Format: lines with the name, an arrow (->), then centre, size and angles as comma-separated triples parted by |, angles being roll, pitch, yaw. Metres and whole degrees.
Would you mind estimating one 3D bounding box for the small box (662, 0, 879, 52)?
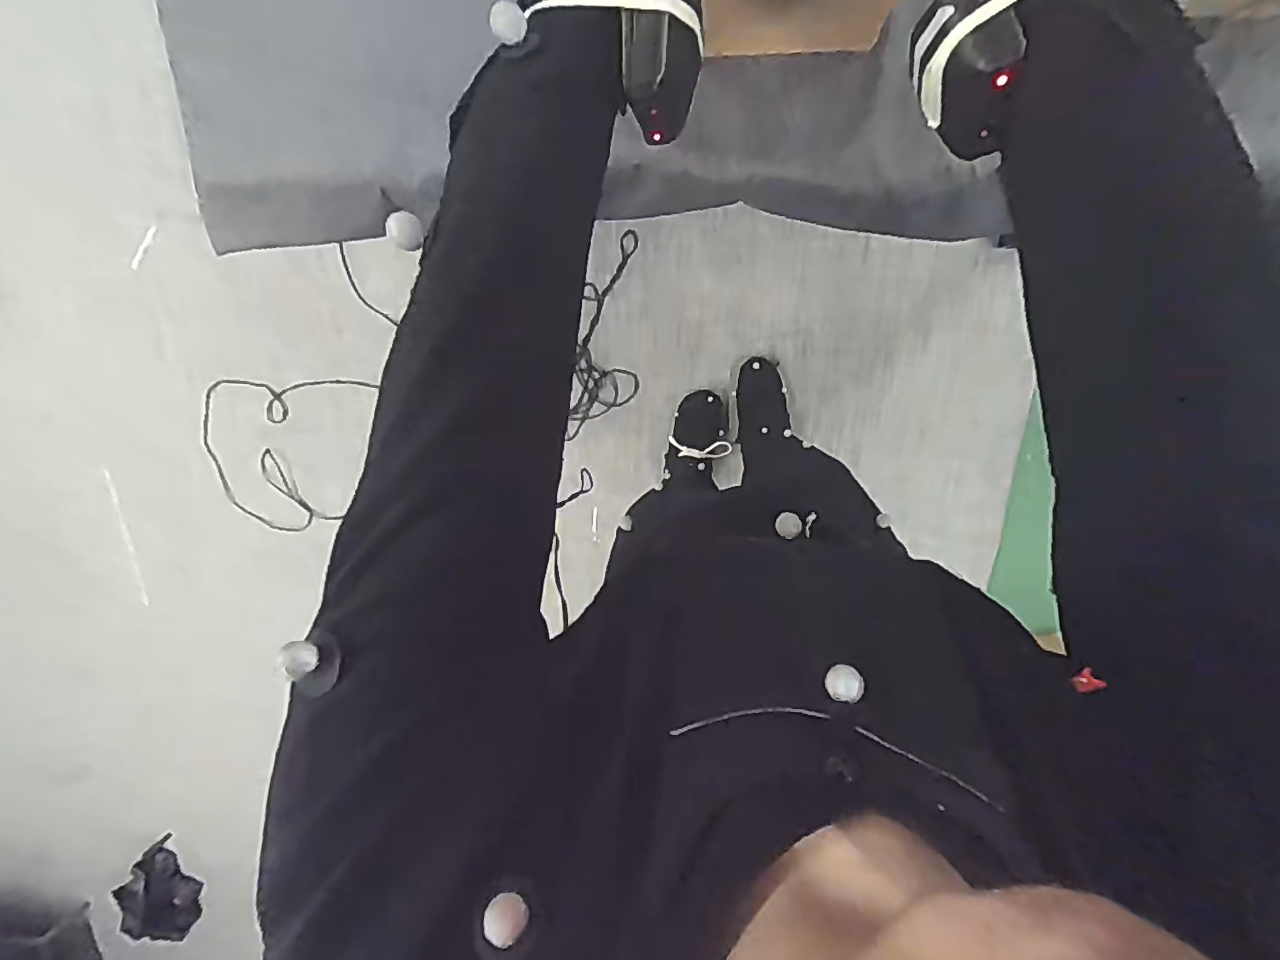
small box -> 0.102, -0.440, 0.386 | 0.179, 0.176, 0.168 | 3, 106, 7
